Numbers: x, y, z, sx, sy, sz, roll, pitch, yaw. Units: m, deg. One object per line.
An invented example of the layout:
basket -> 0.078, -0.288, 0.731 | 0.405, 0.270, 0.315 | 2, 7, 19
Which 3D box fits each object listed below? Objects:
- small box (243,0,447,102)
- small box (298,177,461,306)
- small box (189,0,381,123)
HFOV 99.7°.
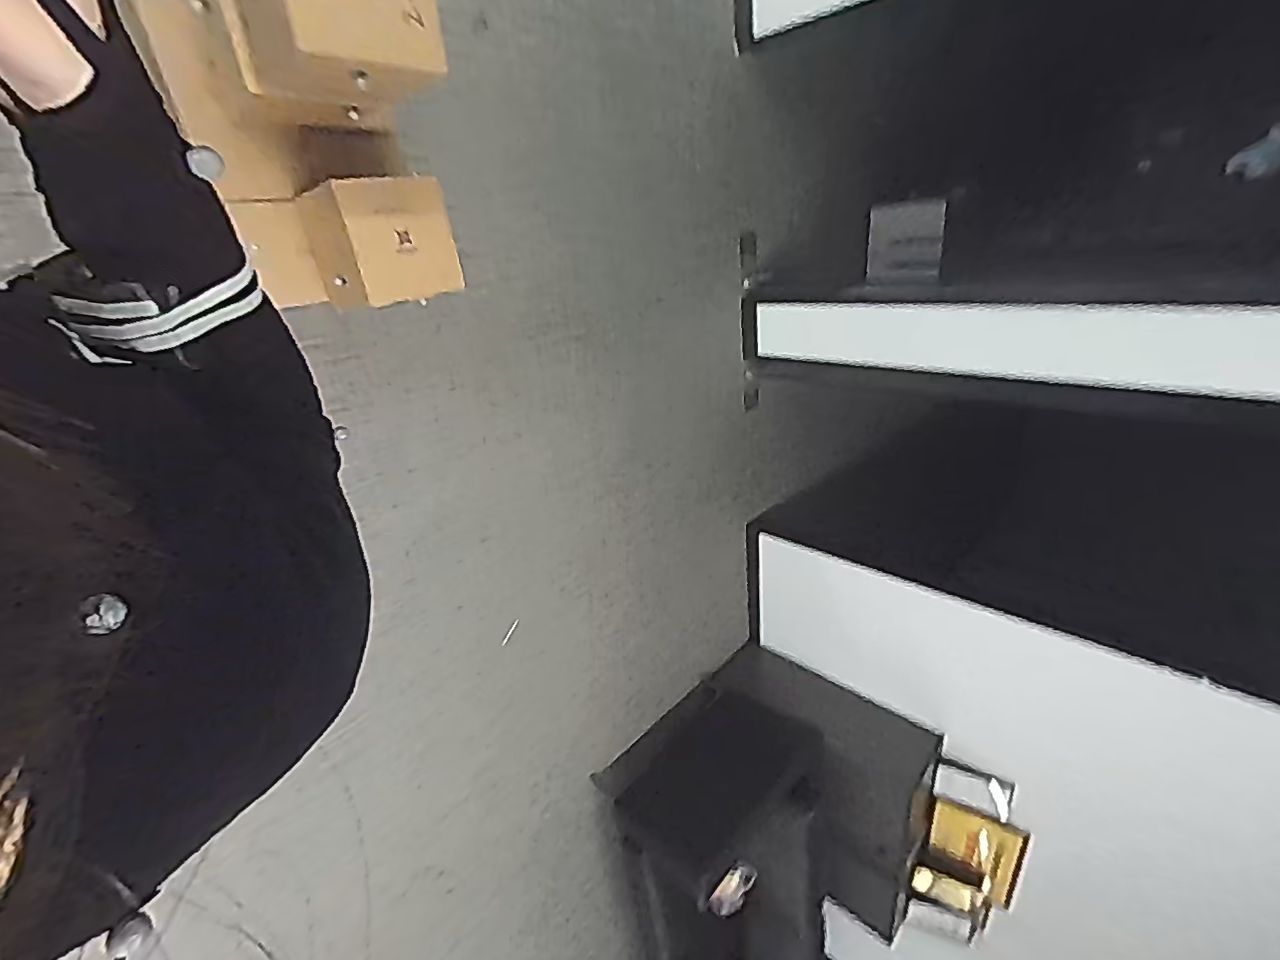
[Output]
small box -> -0.363, -0.573, 0.646 | 0.179, 0.176, 0.168 | -24, 122, -40
small box -> -0.428, -0.390, 0.892 | 0.168, 0.176, 0.179 | -29, 122, -40
small box -> -0.490, -0.608, 0.746 | 0.179, 0.176, 0.168 | -26, 123, -39
